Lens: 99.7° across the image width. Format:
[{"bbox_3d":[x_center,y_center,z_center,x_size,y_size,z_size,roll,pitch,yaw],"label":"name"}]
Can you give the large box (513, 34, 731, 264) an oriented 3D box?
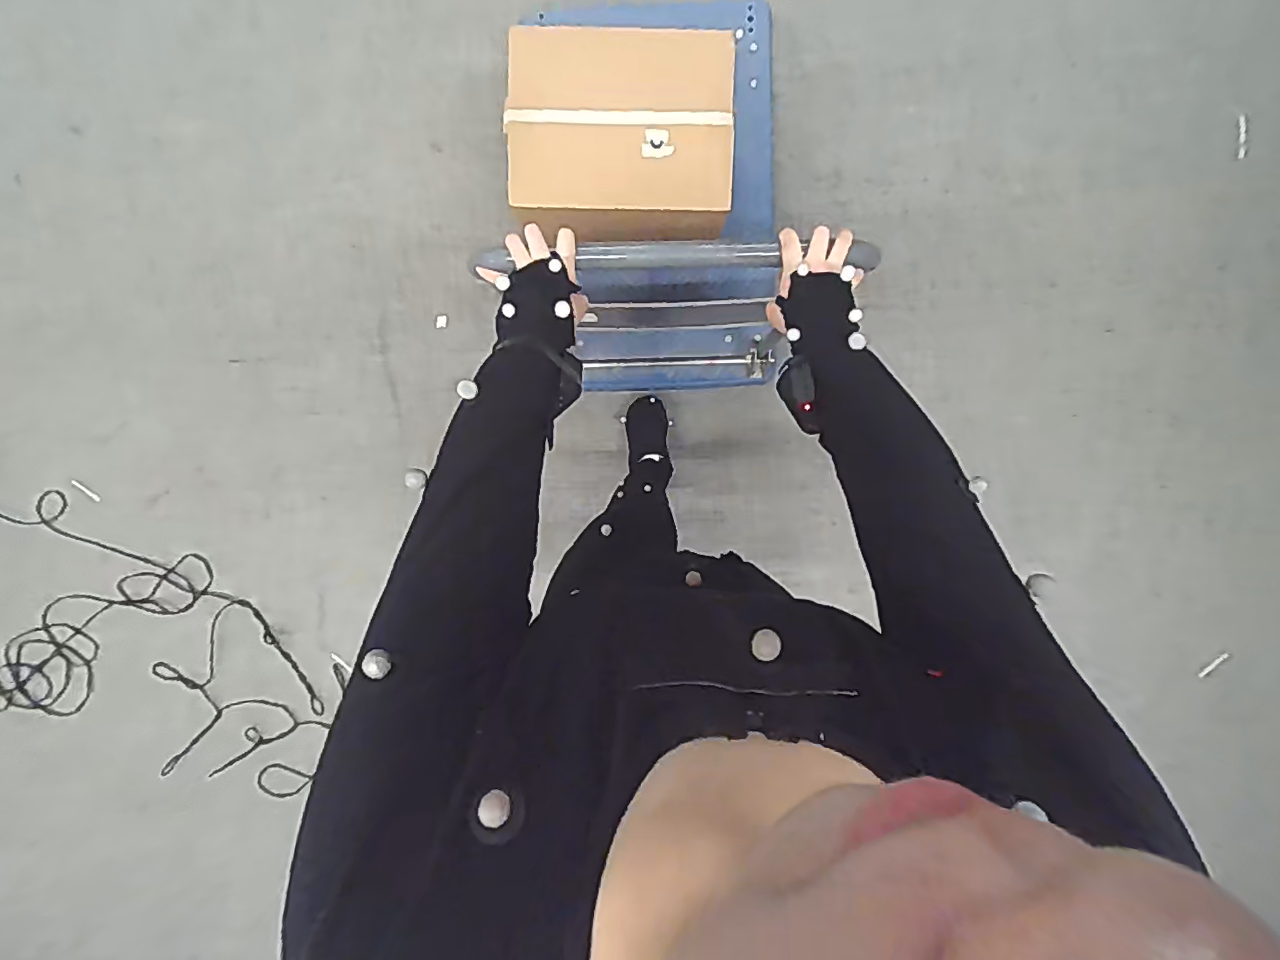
[{"bbox_3d":[-0.036,-0.662,1.136,0.408,0.320,0.320,1,93,-1],"label":"large box"}]
